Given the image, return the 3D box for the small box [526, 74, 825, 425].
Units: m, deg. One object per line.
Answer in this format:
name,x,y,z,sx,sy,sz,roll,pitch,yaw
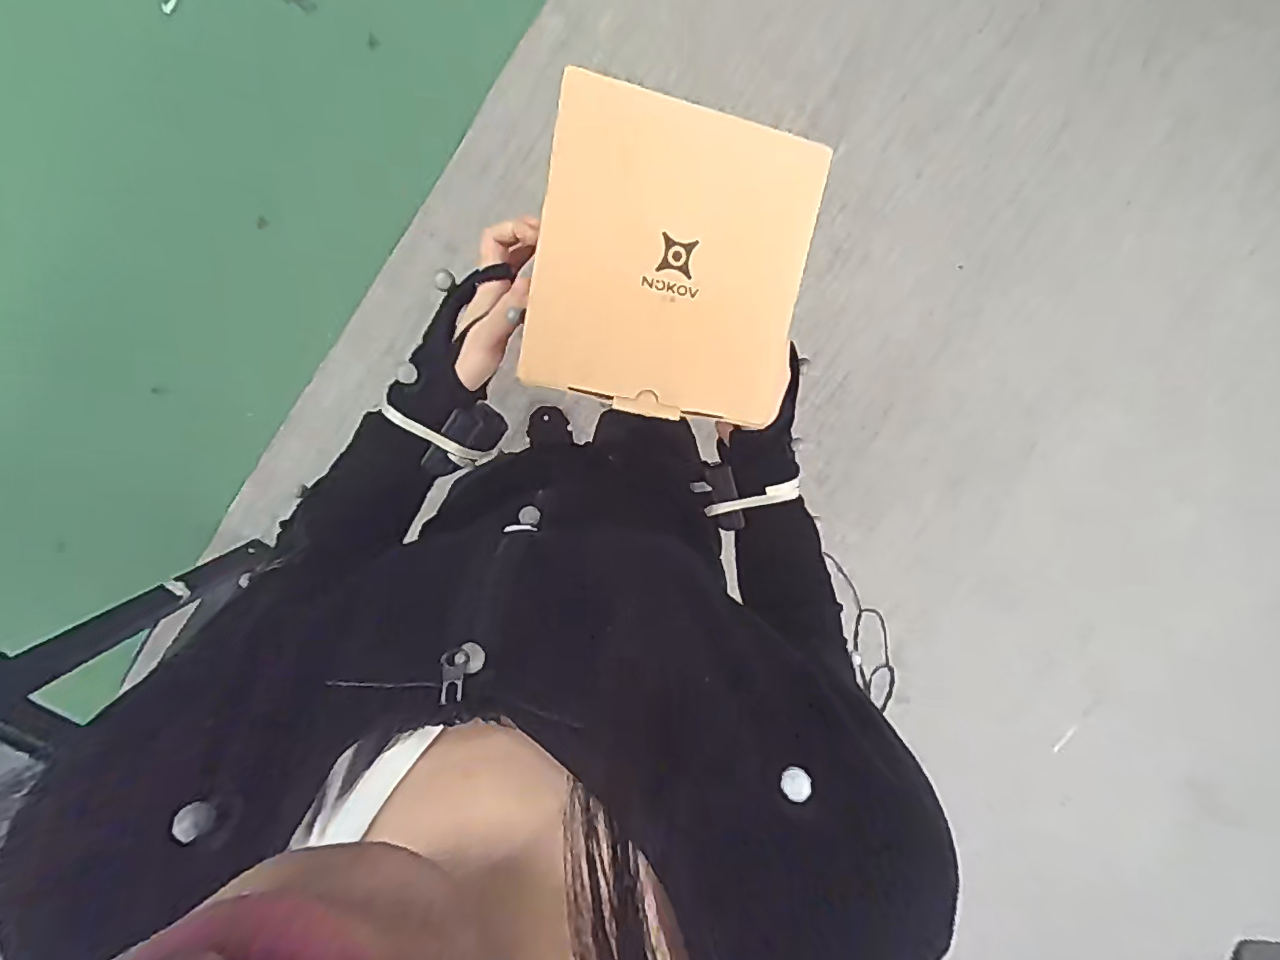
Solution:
small box,0.007,-0.150,0.411,0.168,0.176,0.179,9,102,-13
